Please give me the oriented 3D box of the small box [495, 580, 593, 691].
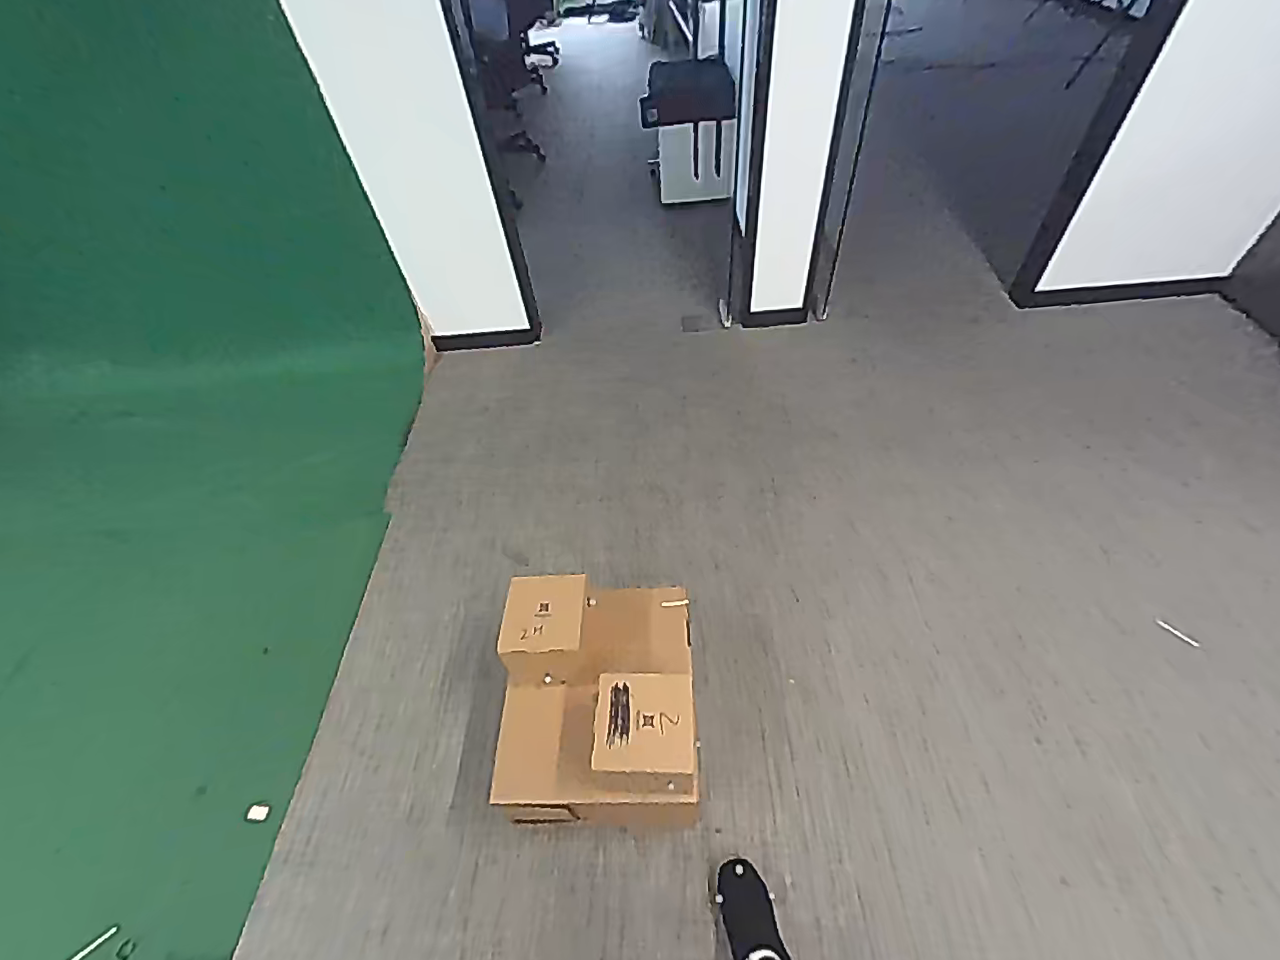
[{"bbox_3d":[-0.196,0.335,1.163,0.168,0.176,0.179,-3,46,4],"label":"small box"}]
